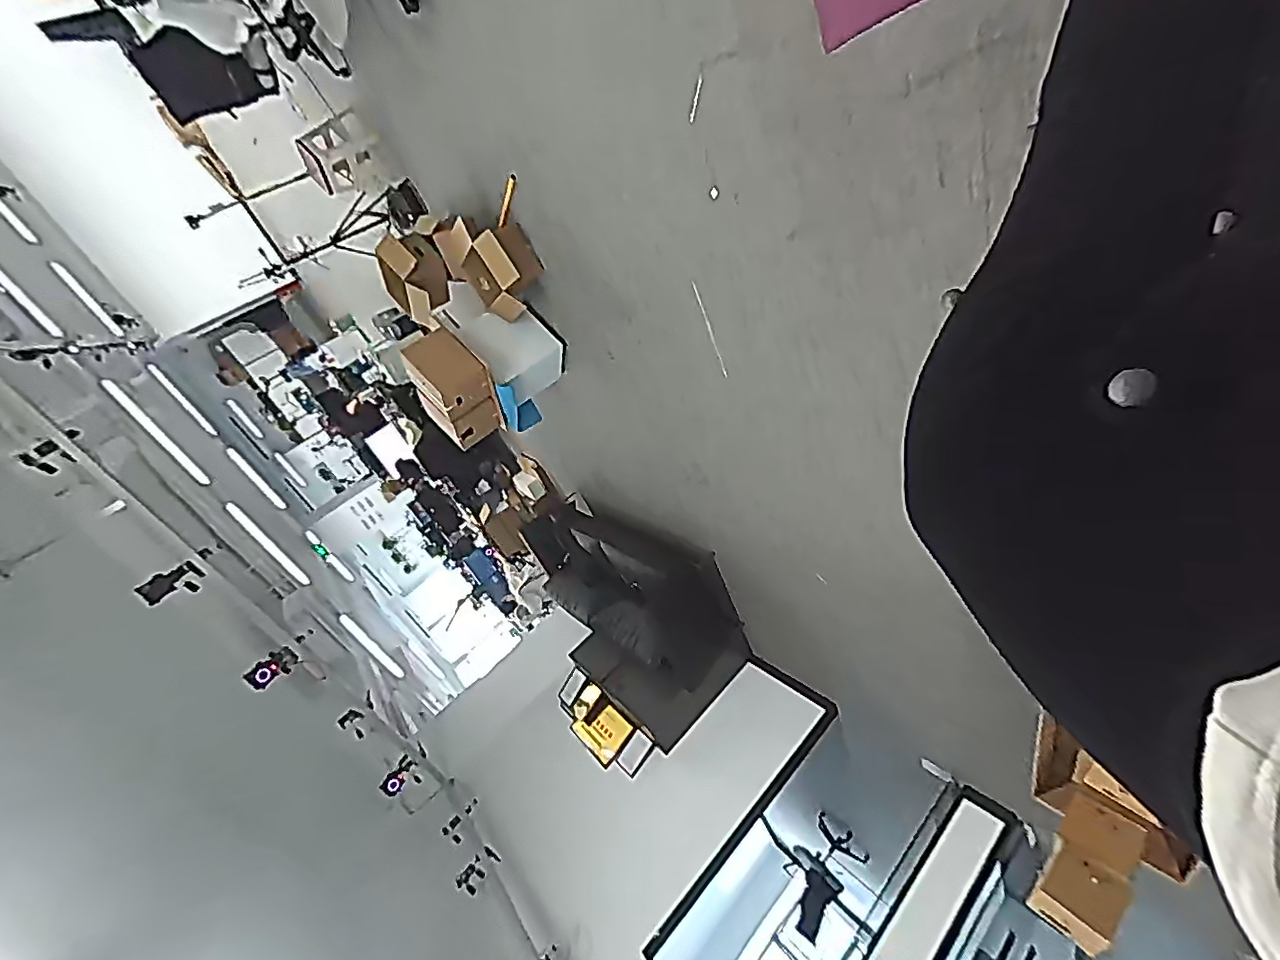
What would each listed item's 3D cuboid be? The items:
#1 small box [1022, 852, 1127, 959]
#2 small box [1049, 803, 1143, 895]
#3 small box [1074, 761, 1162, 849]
[{"bbox_3d":[1.207,1.190,1.505,0.168,0.176,0.179,29,146,42],"label":"small box"},{"bbox_3d":[1.322,1.094,1.572,0.168,0.176,0.179,22,141,50],"label":"small box"},{"bbox_3d":[1.440,1.005,1.639,0.168,0.176,0.179,21,141,49],"label":"small box"}]
